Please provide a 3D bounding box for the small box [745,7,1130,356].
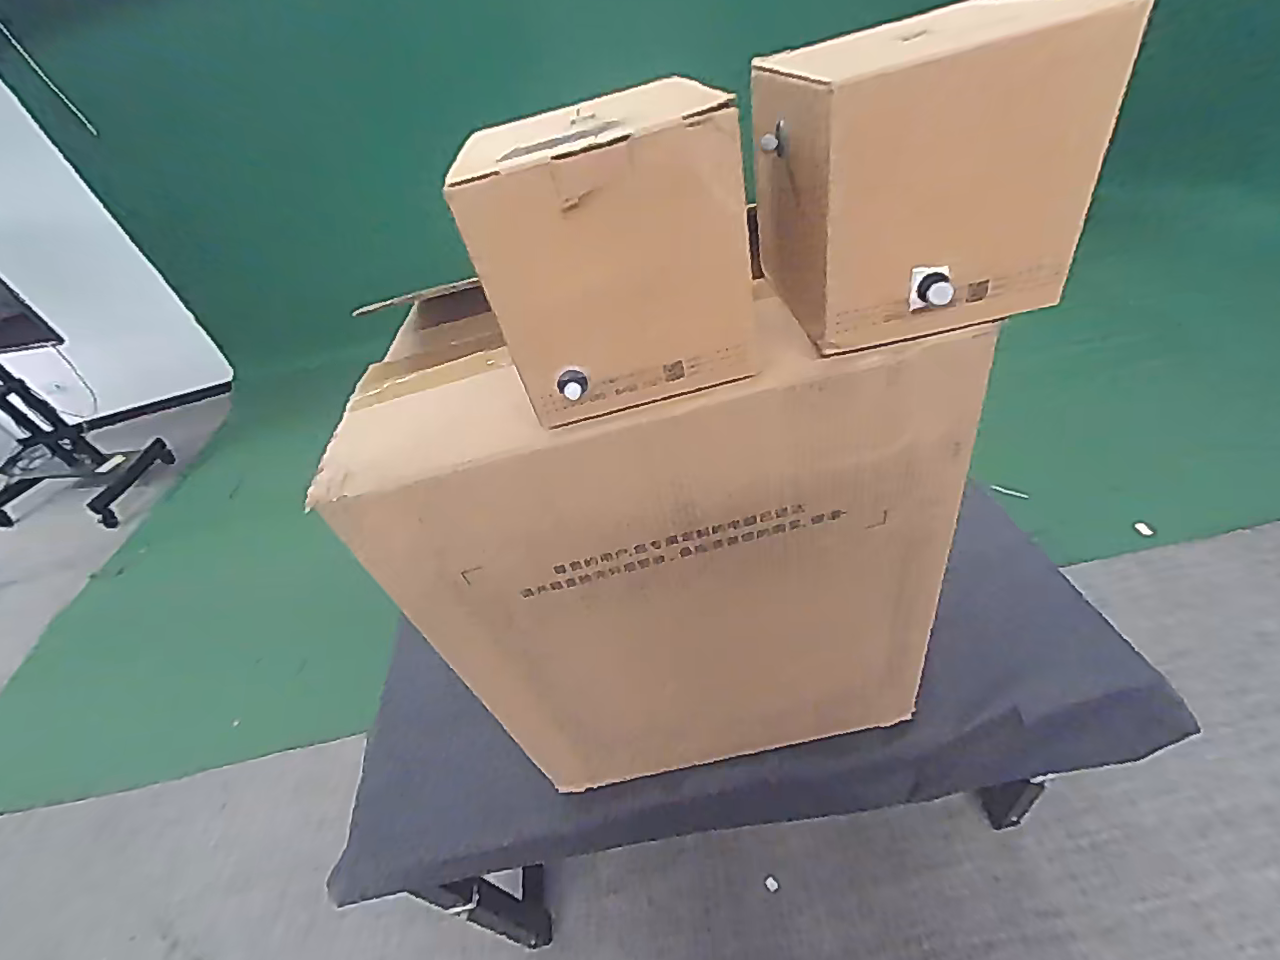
[{"bbox_3d":[0.184,-0.217,0.400,0.168,0.176,0.179,-15,41,3],"label":"small box"}]
